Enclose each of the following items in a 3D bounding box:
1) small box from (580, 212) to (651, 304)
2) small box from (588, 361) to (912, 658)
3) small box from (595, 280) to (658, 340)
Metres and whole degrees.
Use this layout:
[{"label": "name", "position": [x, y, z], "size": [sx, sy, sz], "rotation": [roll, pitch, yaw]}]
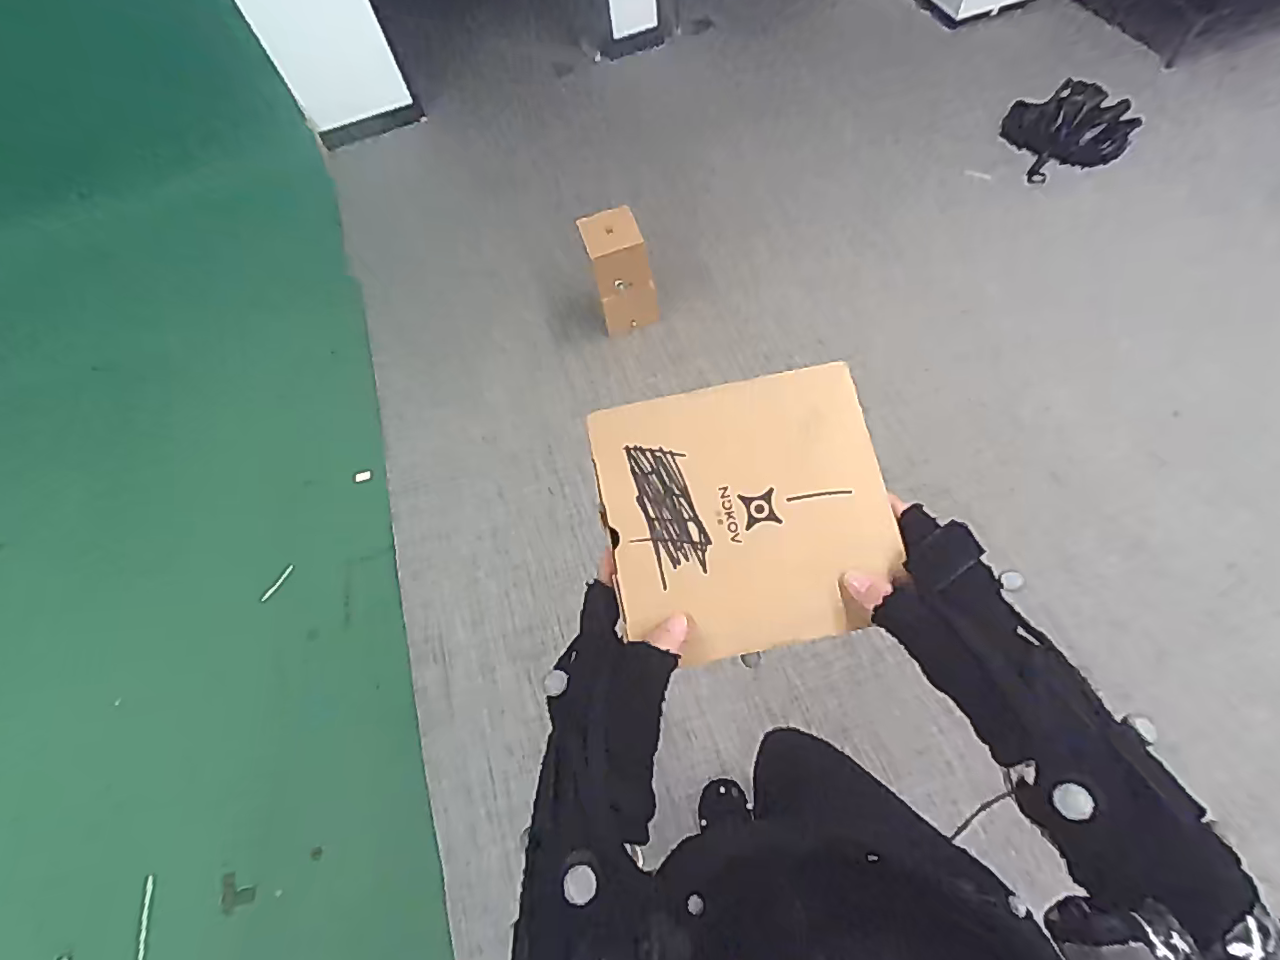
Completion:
[{"label": "small box", "position": [-0.072, -0.678, 1.660], "size": [0.168, 0.176, 0.179], "rotation": [-19, 63, -1]}, {"label": "small box", "position": [0.068, 0.032, 0.420], "size": [0.179, 0.176, 0.168], "rotation": [-12, 78, -1]}, {"label": "small box", "position": [-0.044, -0.596, 1.800], "size": [0.179, 0.176, 0.168], "rotation": [-18, 62, -3]}]
